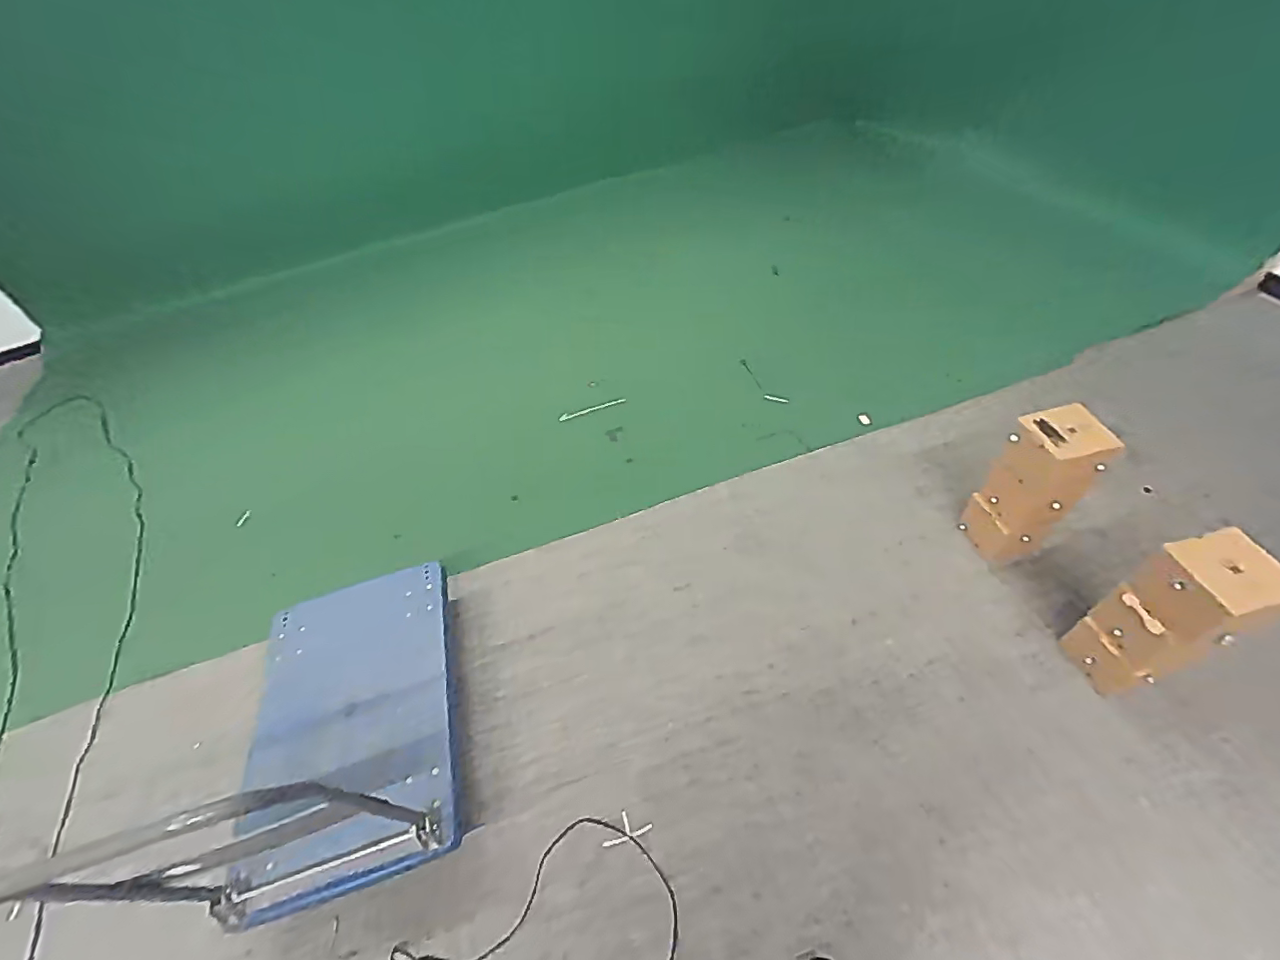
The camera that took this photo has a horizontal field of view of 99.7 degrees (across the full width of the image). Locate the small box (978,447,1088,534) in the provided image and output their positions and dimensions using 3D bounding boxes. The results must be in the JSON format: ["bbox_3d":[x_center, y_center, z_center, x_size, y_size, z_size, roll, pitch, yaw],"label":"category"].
[{"bbox_3d":[1.145,0.033,1.592,0.179,0.176,0.168,-15,49,-1],"label":"small box"}]

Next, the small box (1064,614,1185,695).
[{"bbox_3d":[1.273,0.445,1.427,0.179,0.176,0.168,-17,49,-2],"label":"small box"}]

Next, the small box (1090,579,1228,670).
[{"bbox_3d":[1.257,0.336,1.305,0.179,0.176,0.168,-14,48,0],"label":"small box"}]

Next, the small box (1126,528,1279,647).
[{"bbox_3d":[1.232,0.235,1.178,0.168,0.176,0.179,-14,48,0],"label":"small box"}]

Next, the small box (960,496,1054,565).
[{"bbox_3d":[1.158,0.149,1.729,0.179,0.176,0.168,-14,49,-2],"label":"small box"}]
